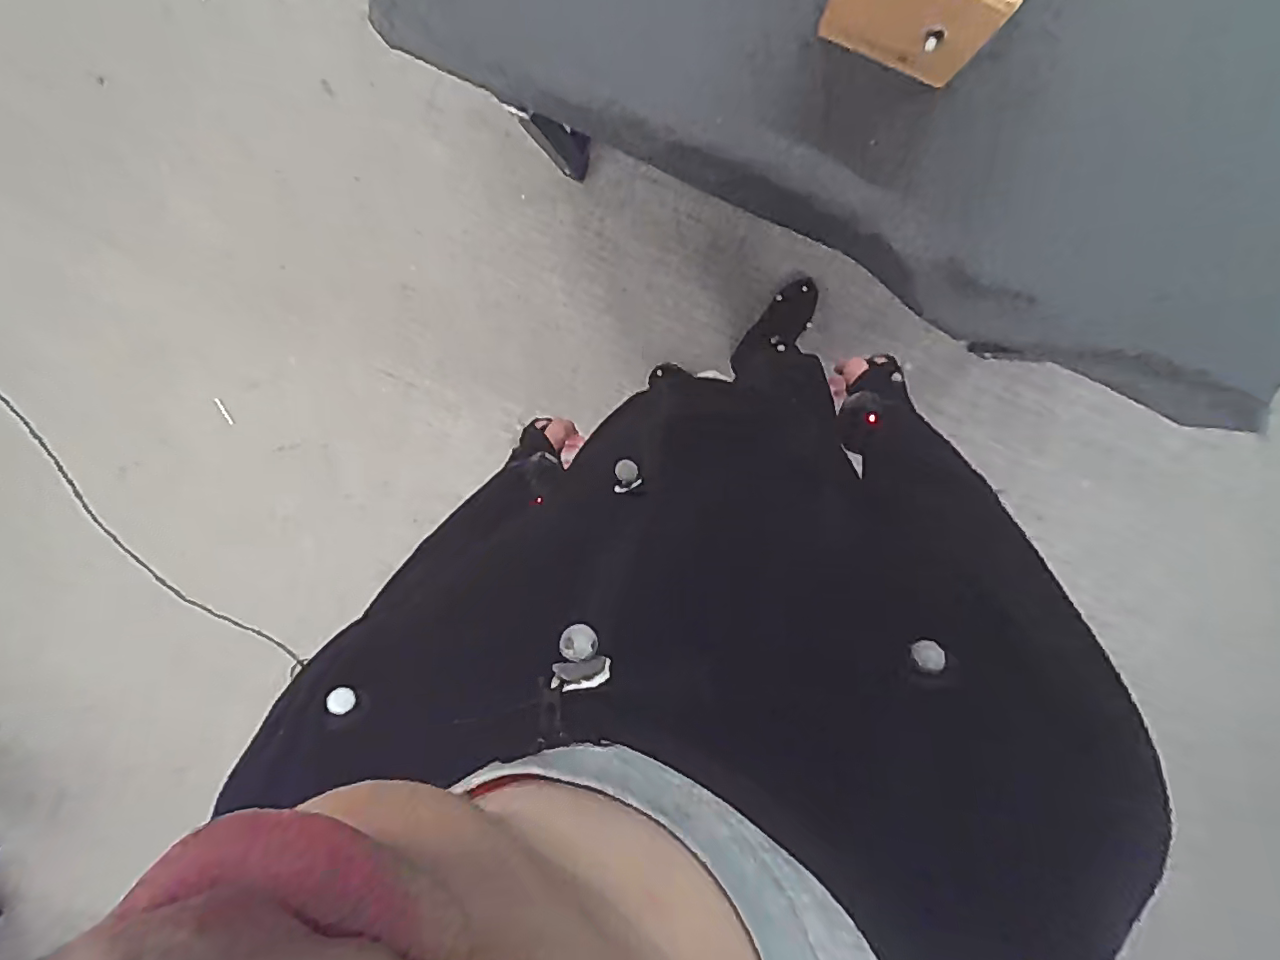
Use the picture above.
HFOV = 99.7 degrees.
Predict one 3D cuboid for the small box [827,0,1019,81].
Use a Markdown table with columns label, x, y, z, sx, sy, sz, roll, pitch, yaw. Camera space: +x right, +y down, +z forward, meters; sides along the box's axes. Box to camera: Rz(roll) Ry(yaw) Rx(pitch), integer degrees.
| label | x | y | z | sx | sy | sz | roll | pitch | yaw |
| --- | --- | --- | --- | --- | --- | --- | --- | --- | --- |
| small box | 0.311 | -0.556 | 0.548 | 0.168 | 0.176 | 0.179 | 24 | 105 | -2 |
